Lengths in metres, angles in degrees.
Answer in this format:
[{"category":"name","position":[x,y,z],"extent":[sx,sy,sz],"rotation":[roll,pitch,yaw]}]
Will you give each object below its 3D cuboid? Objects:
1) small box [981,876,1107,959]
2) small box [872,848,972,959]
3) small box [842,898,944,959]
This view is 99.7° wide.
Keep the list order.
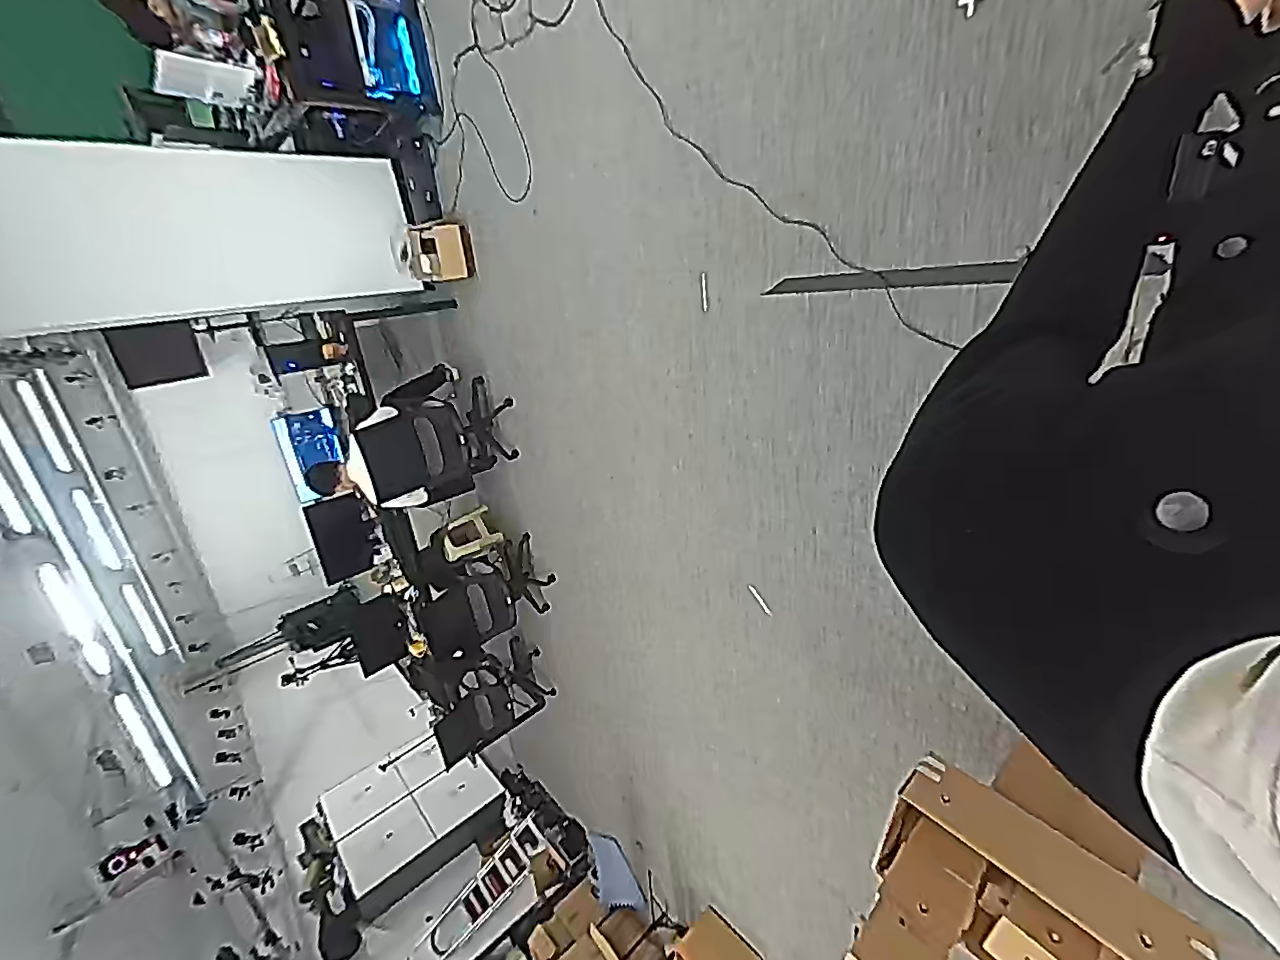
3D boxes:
[{"category":"small box","position":[0.973,1.108,1.305],"extent":[0.179,0.176,0.168],"rotation":[29,130,41]},{"category":"small box","position":[0.701,1.083,1.355],"extent":[0.179,0.176,0.168],"rotation":[23,126,43]},{"category":"small box","position":[0.579,1.140,1.261],"extent":[0.168,0.176,0.179],"rotation":[28,131,38]}]
